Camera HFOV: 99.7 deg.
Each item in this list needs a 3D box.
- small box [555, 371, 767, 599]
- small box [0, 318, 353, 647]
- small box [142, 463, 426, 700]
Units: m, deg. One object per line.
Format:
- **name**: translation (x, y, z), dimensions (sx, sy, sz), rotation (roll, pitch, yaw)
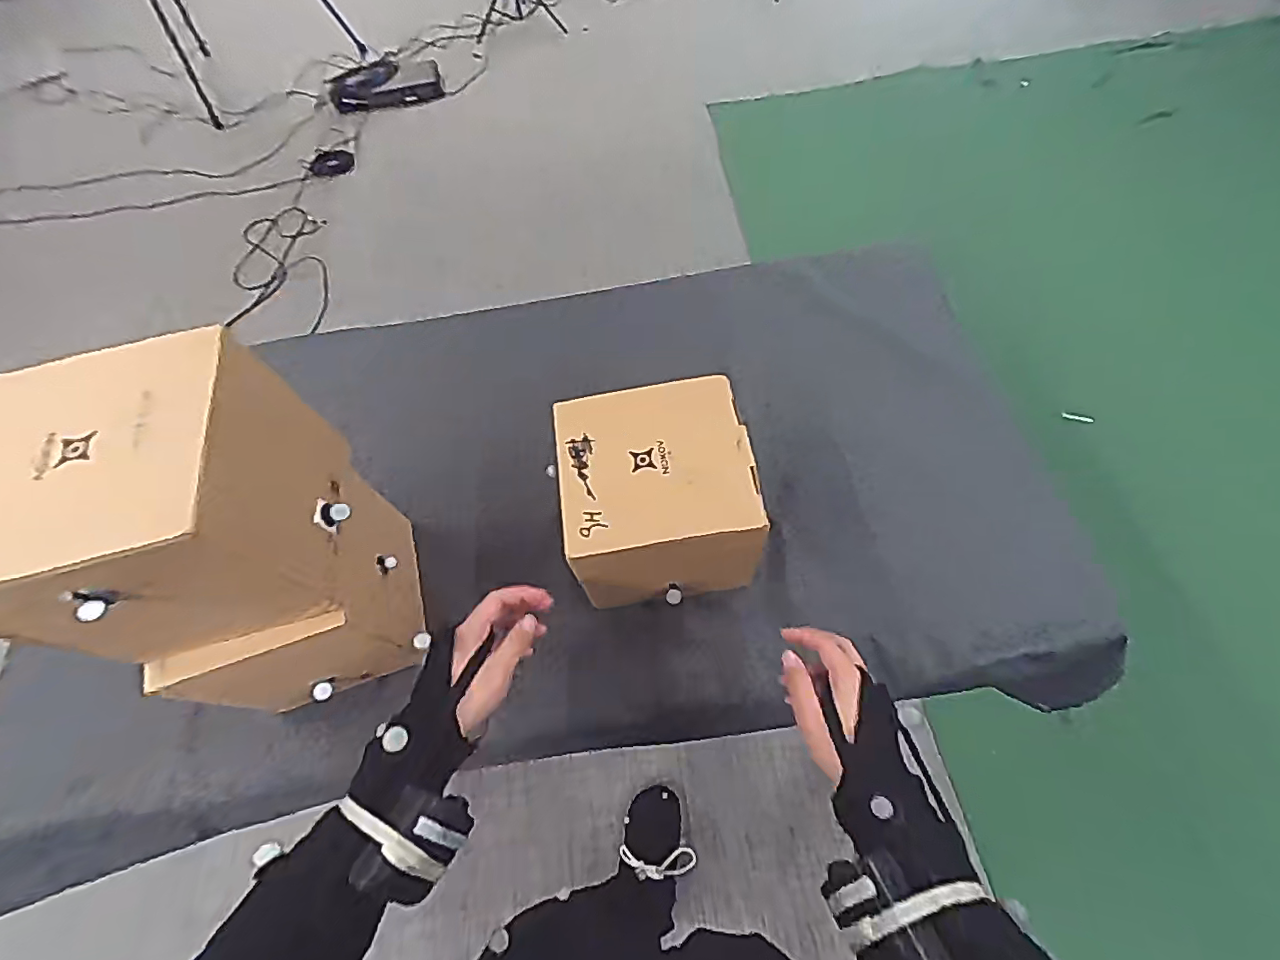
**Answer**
- **small box**: translation (0.016, 0.014, 0.559), dimensions (0.179, 0.176, 0.168), rotation (-8, 62, -1)
- **small box**: translation (-0.347, 0.014, 0.406), dimensions (0.179, 0.176, 0.168), rotation (-15, 64, -4)
- **small box**: translation (-0.336, 0.102, 0.543), dimensions (0.168, 0.176, 0.179), rotation (-19, 64, -5)
